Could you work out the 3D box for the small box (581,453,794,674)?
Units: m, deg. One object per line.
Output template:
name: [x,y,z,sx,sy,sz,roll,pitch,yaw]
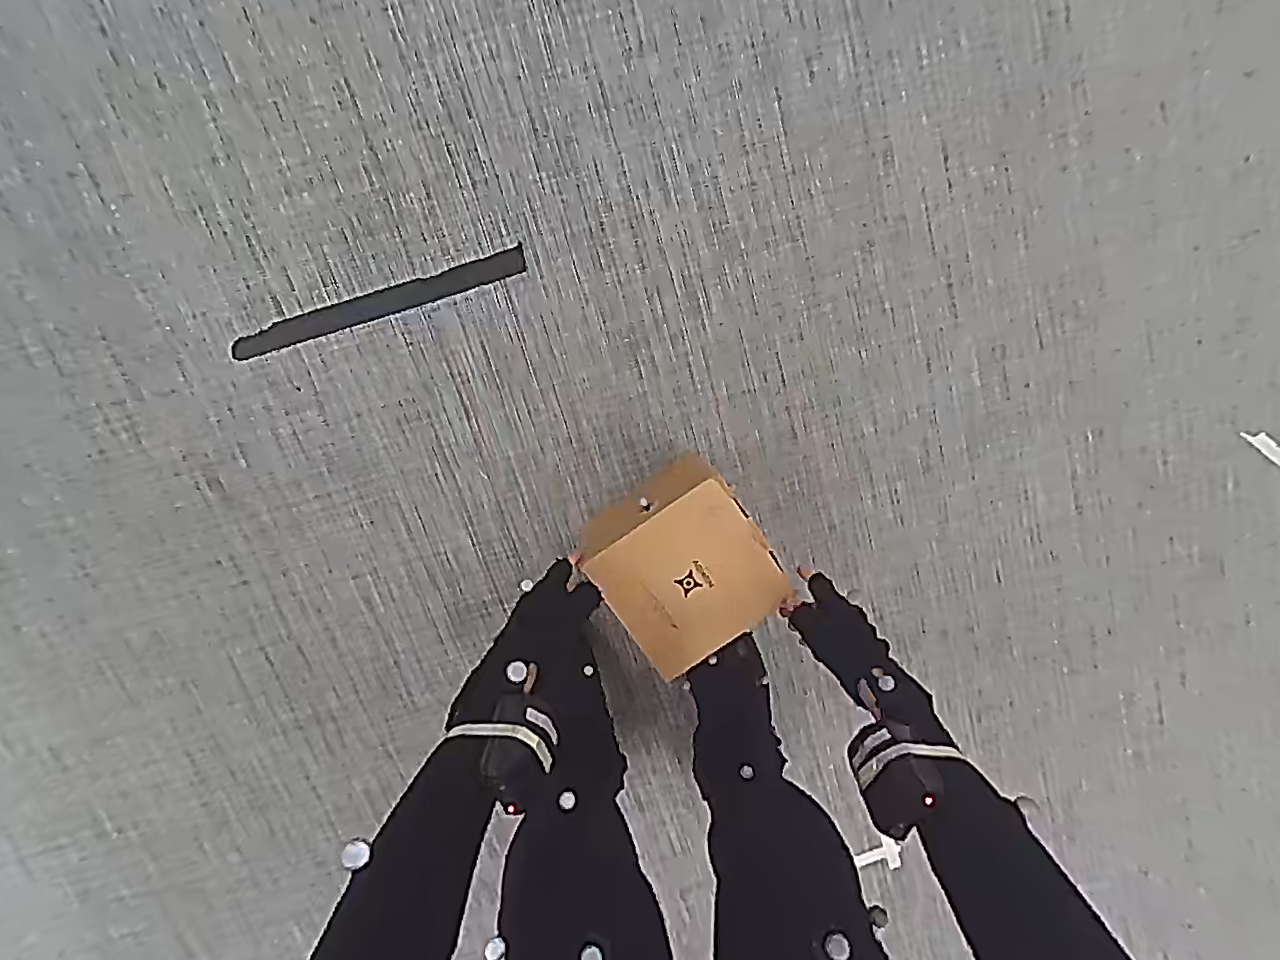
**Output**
small box: [0.045,0.084,0.645,0.179,0.176,0.168,-35,100,3]
